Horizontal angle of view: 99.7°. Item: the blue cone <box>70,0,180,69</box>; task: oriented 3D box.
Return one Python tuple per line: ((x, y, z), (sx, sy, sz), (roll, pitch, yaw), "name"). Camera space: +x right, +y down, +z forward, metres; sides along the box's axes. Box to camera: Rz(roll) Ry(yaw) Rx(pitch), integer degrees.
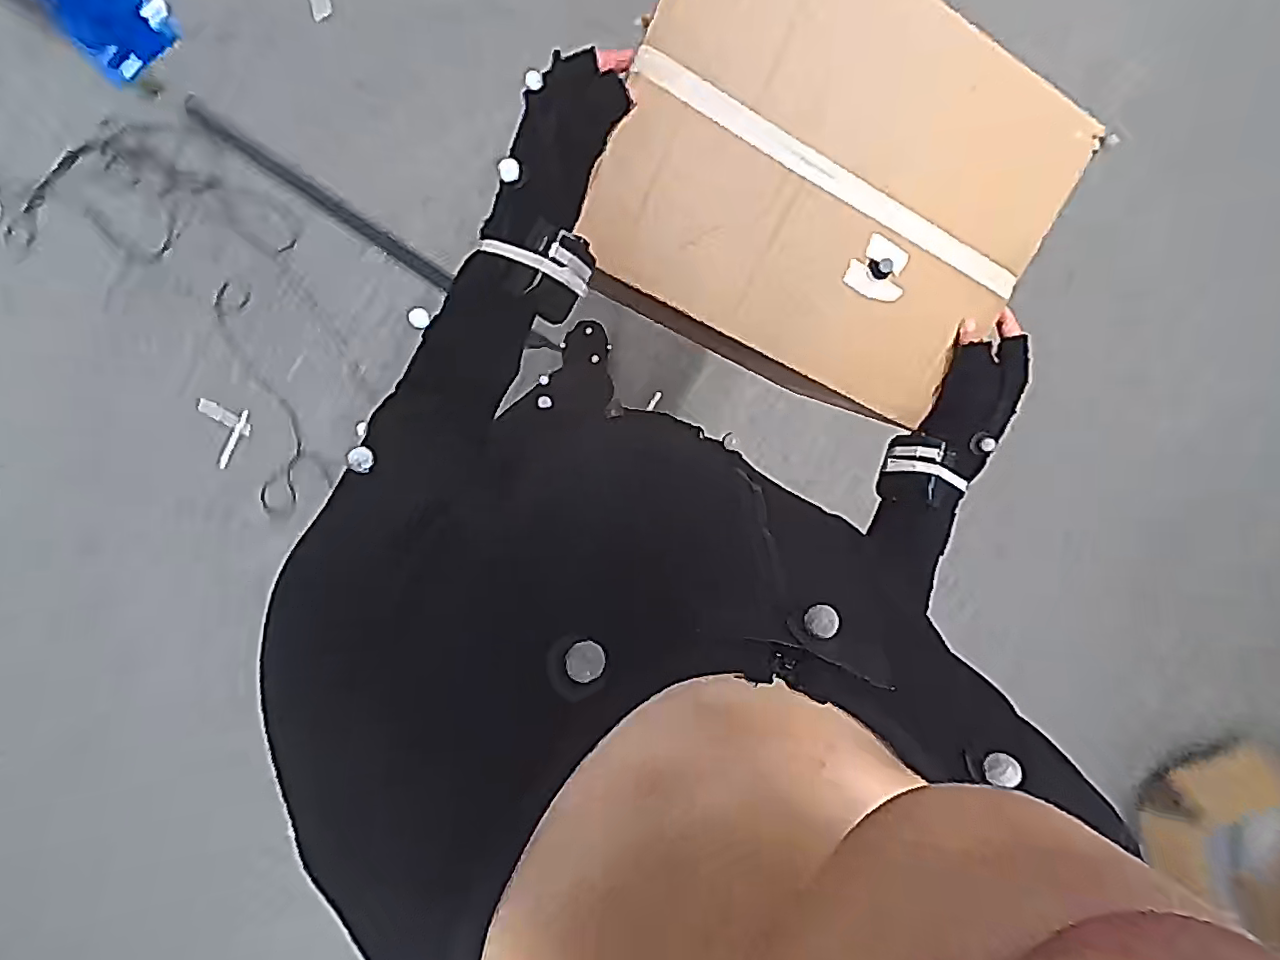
((-1.158, -1.031, 1.068), (0.193, 0.380, 0.192), (-35, 100, 3), "blue cone")
